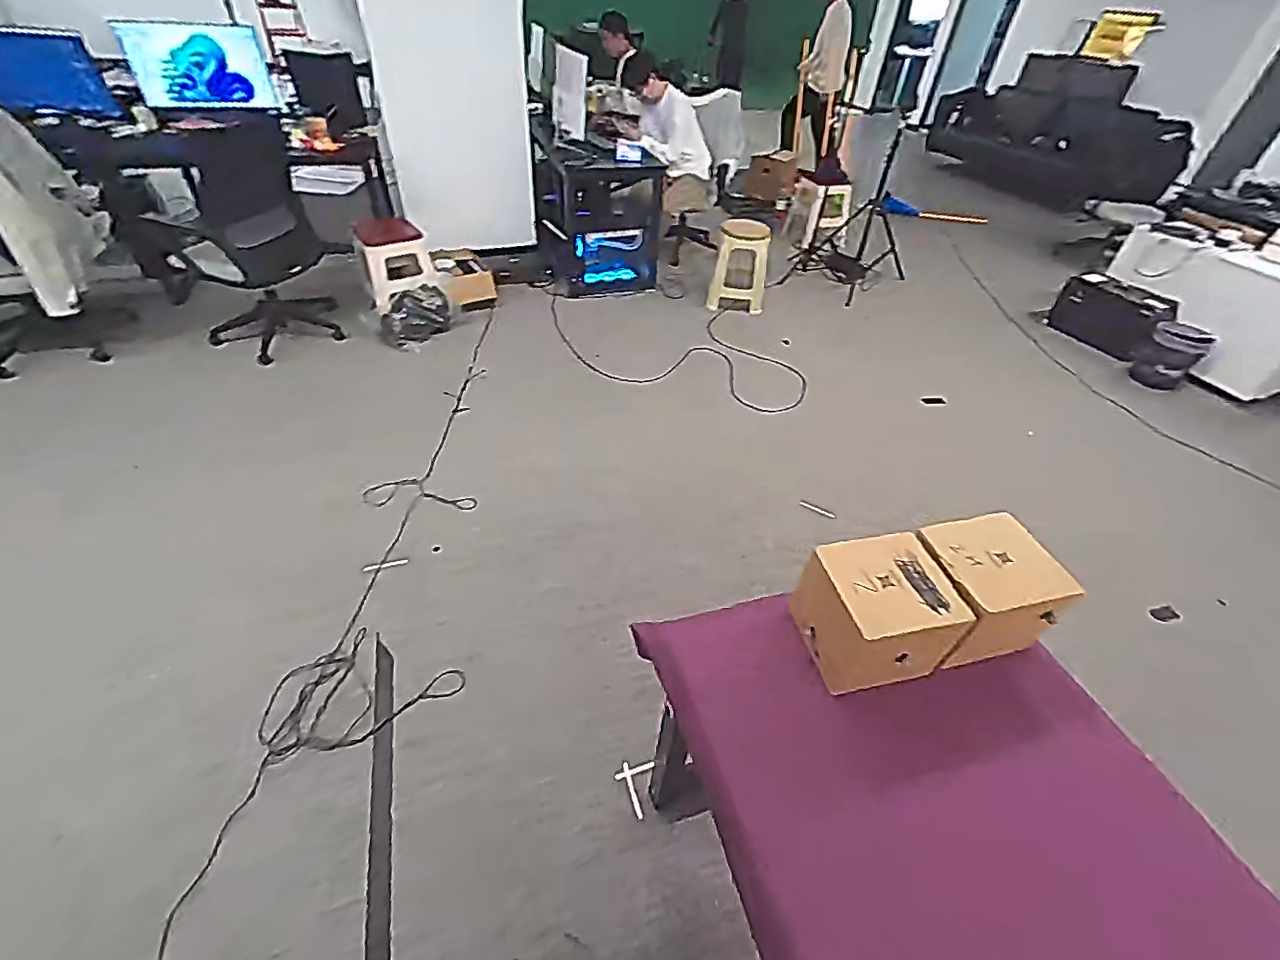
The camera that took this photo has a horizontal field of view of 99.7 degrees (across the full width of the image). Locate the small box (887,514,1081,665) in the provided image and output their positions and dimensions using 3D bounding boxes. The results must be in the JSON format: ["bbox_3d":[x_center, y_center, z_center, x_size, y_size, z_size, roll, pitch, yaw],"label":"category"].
[{"bbox_3d":[0.548,0.180,0.890,0.179,0.176,0.168,-8,44,-12],"label":"small box"}]
